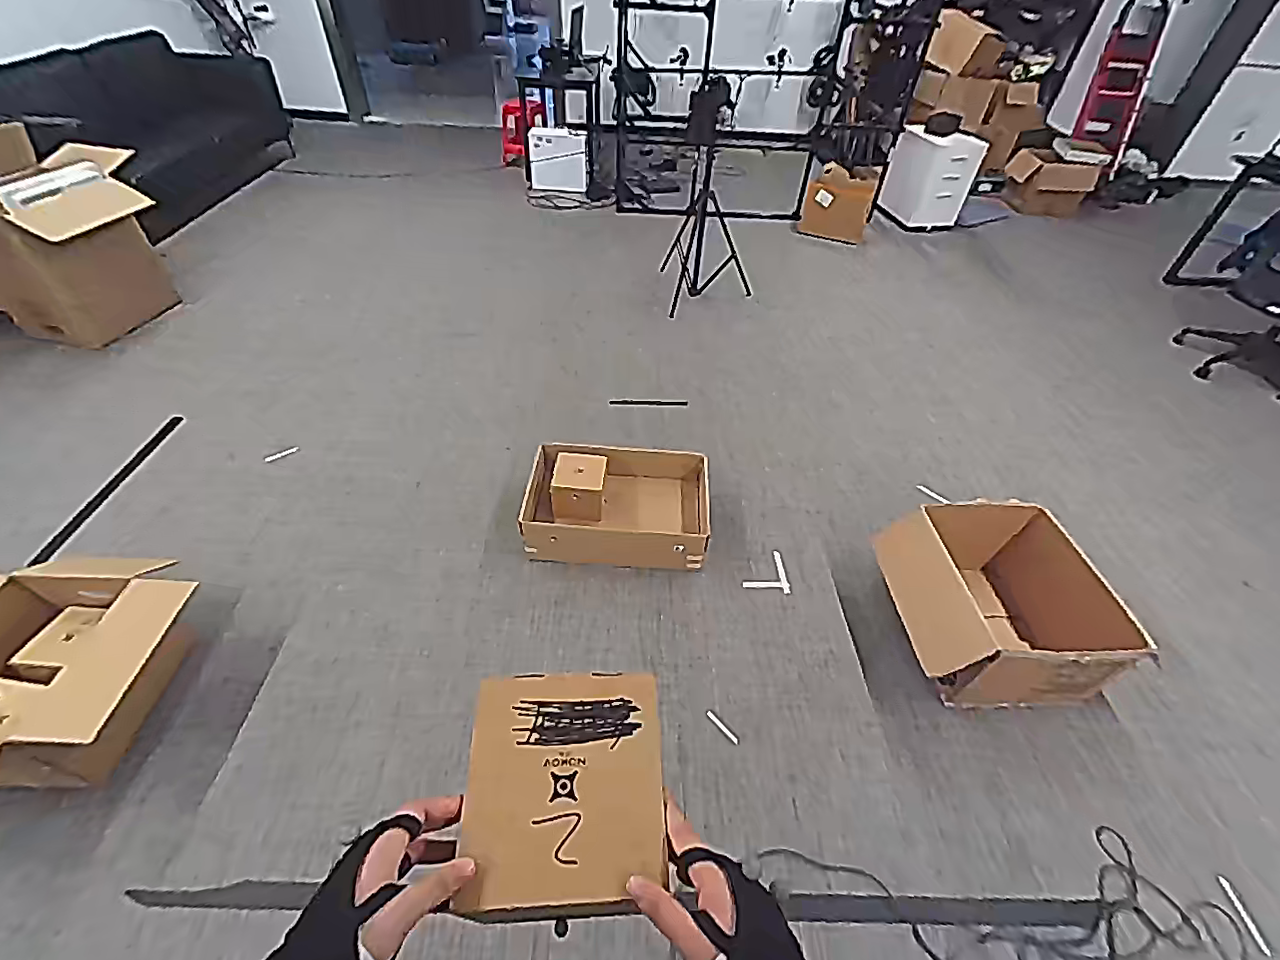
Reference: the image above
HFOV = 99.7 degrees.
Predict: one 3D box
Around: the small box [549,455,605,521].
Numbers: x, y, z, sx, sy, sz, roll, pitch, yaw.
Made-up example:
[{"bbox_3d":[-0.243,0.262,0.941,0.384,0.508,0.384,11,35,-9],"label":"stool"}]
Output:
[{"bbox_3d":[-0.219,0.032,1.928,0.179,0.176,0.168,5,47,-1],"label":"small box"}]
